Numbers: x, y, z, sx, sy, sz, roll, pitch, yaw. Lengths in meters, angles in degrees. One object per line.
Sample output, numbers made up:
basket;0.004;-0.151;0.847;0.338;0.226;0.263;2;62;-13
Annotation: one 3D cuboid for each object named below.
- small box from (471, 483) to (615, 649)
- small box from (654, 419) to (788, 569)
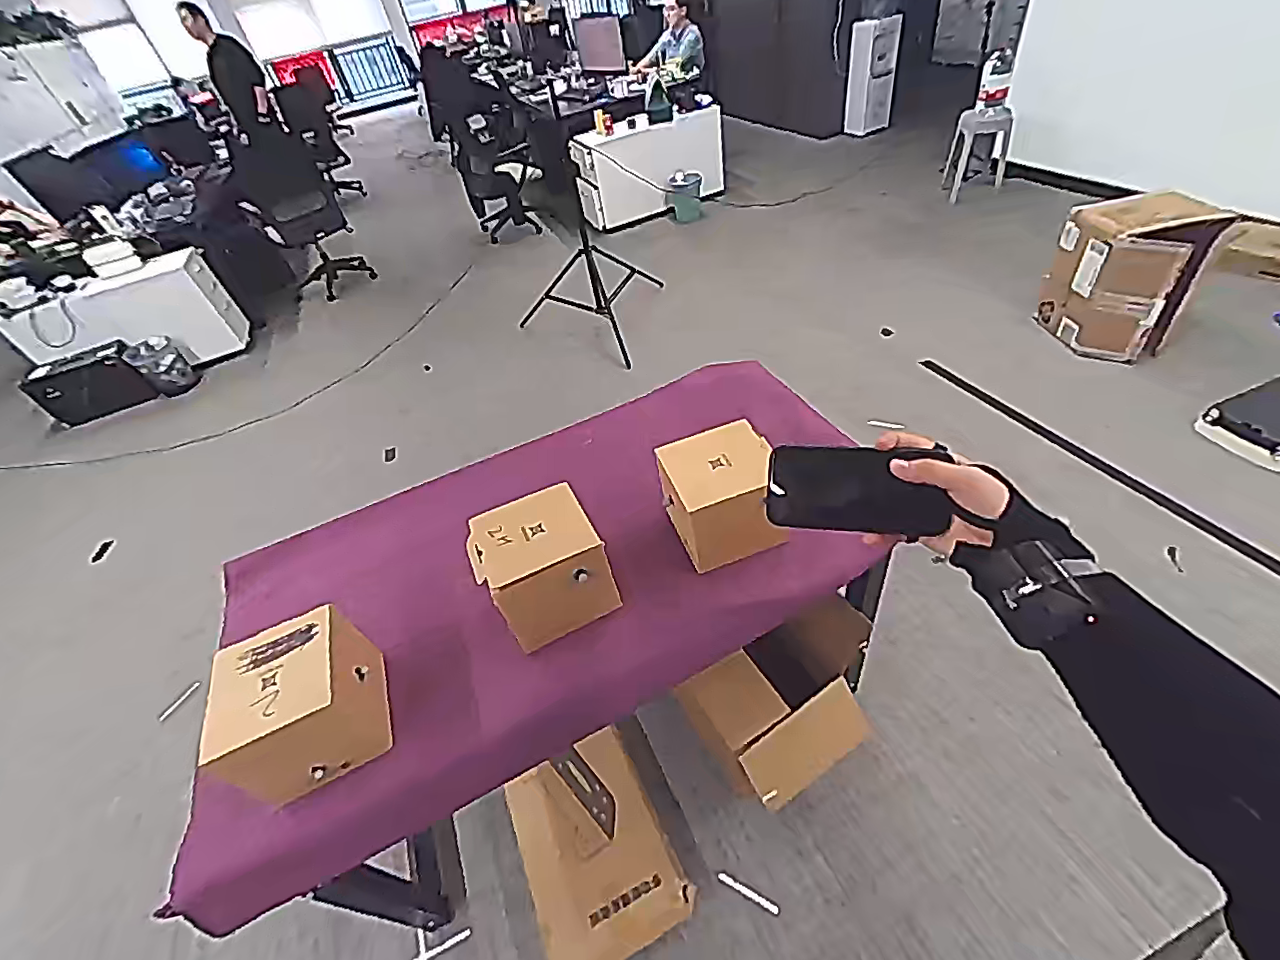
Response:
small box;-0.152;0.141;0.891;0.179;0.176;0.168;-25;43;-12
small box;0.141;0.027;0.940;0.179;0.176;0.168;-19;44;-7
